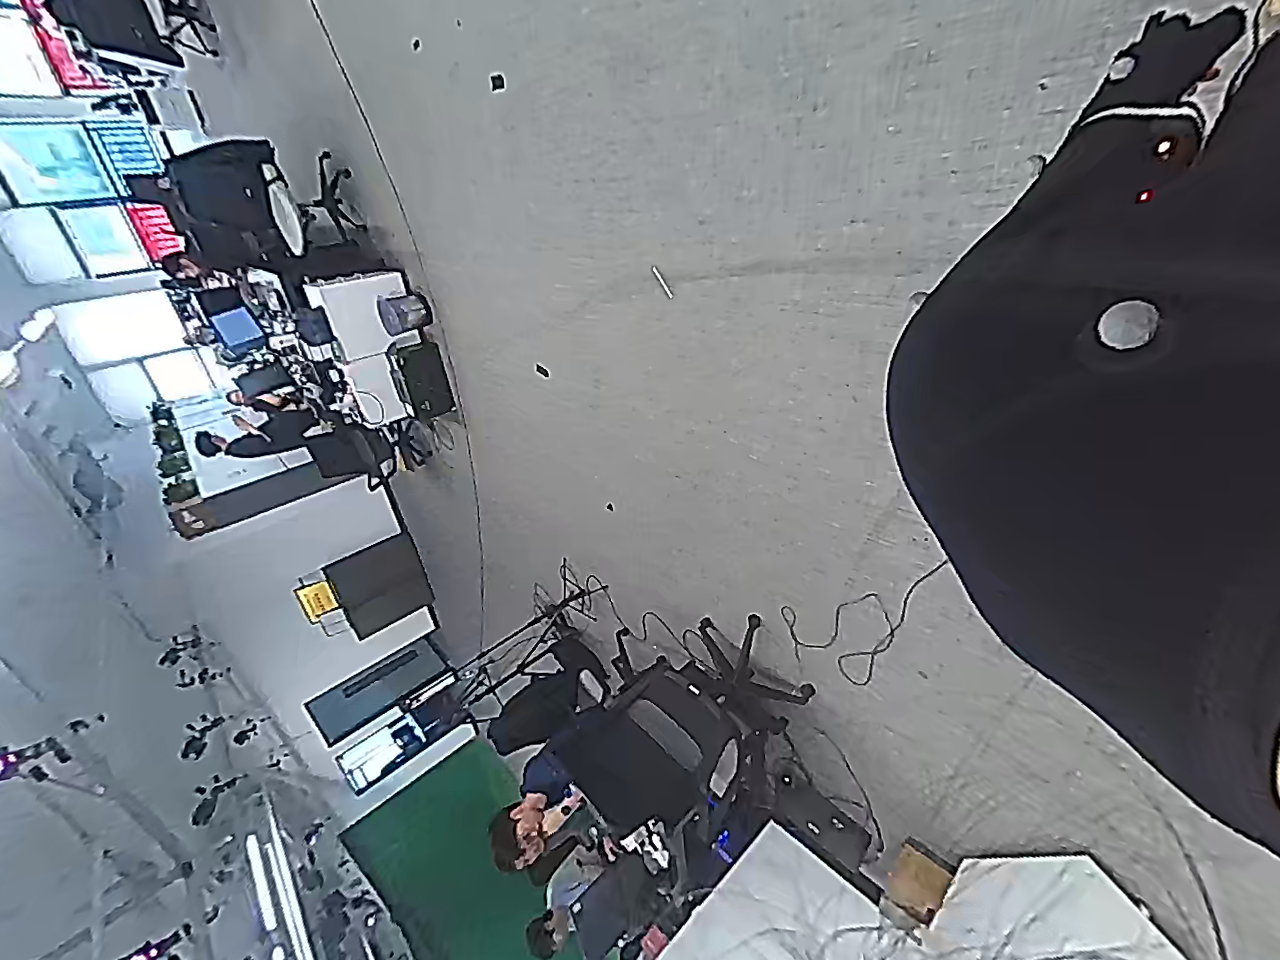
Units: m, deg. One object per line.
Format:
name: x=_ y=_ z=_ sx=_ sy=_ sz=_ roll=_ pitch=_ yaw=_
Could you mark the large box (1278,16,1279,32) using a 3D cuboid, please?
large box: x=1.033 y=-0.718 z=0.575 sx=0.408 sy=0.320 sz=0.320 roll=21 pitch=129 yaw=43
